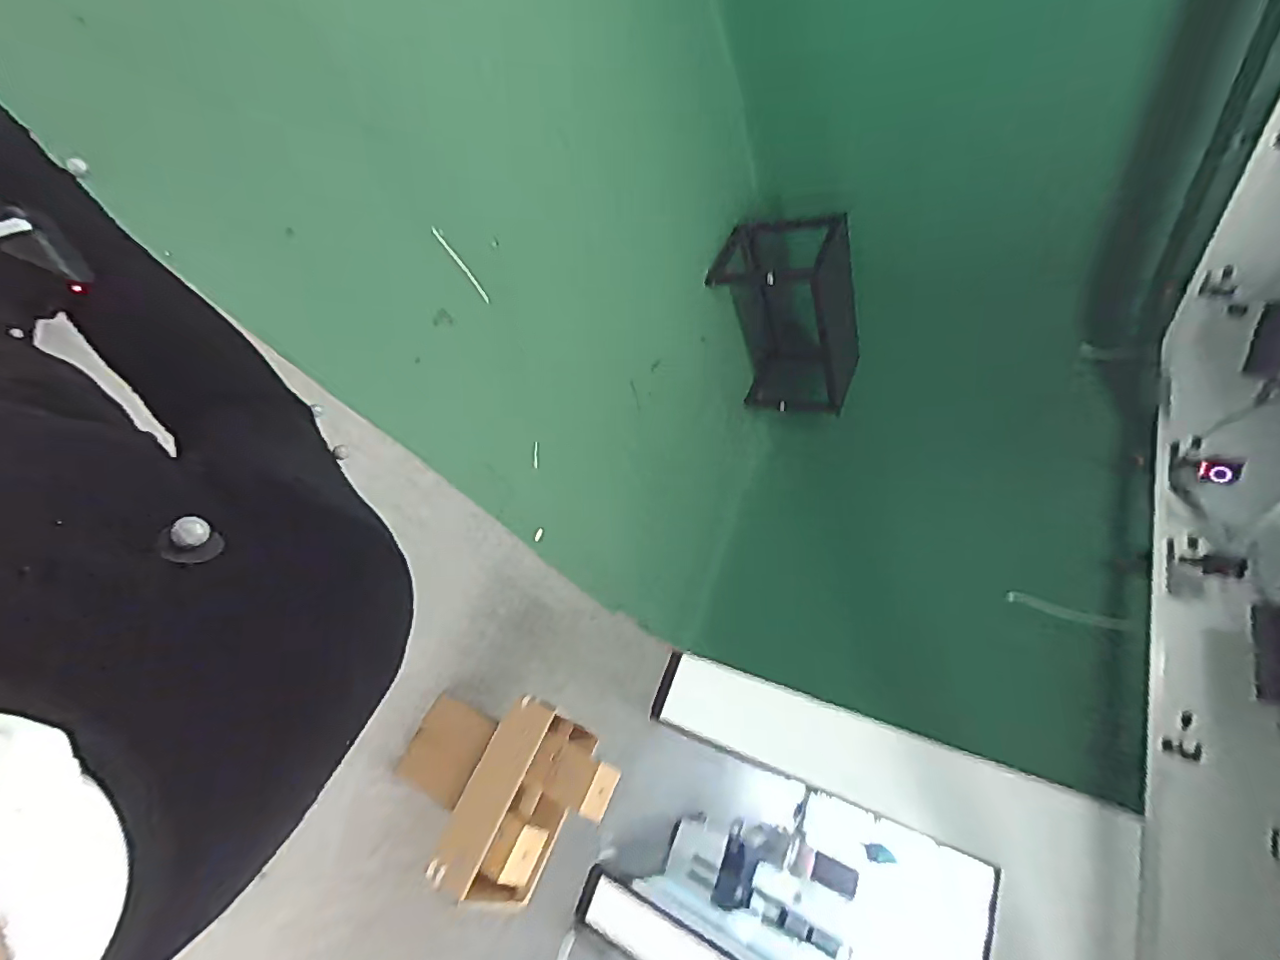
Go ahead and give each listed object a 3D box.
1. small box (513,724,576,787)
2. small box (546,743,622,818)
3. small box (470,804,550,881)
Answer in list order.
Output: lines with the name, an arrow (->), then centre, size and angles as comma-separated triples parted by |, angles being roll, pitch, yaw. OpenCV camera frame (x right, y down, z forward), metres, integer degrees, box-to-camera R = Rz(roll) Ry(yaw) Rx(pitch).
small box -> -0.331, 1.026, 1.987 | 0.168, 0.176, 0.179 | -62, 144, -28
small box -> -0.198, 1.048, 1.892 | 0.168, 0.176, 0.179 | -61, 143, -26
small box -> -0.449, 1.246, 1.864 | 0.168, 0.176, 0.179 | -63, 144, -26
